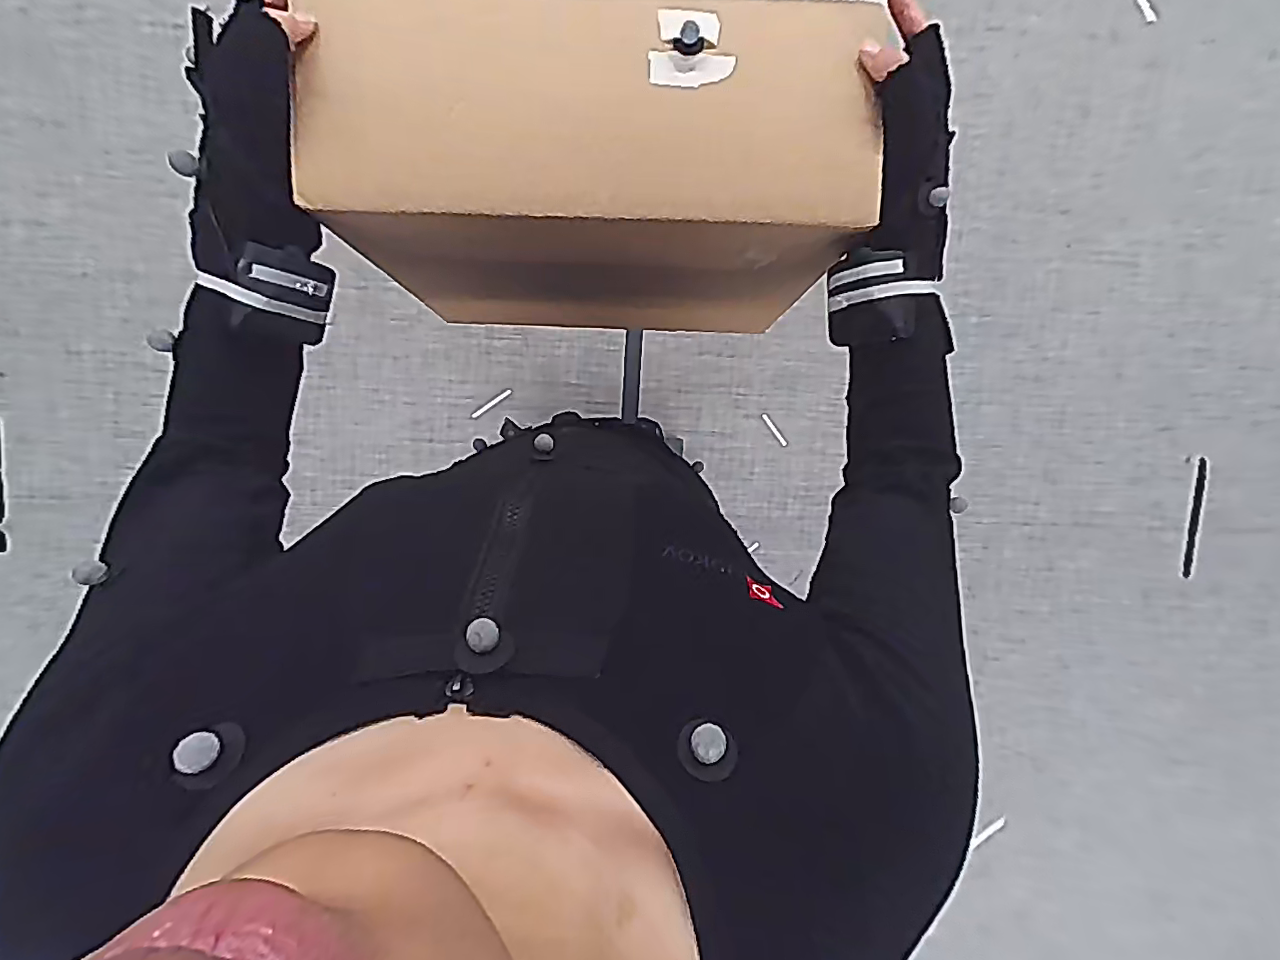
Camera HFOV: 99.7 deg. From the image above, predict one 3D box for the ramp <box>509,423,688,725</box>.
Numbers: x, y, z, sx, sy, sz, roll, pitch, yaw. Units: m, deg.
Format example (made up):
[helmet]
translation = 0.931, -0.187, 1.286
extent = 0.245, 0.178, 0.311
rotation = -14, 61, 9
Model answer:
[ramp]
translation = -0.128, 0.326, 1.618
extent = 0.509, 0.206, 0.991
rotation = 0, 98, -3

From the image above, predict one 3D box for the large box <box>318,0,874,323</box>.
[large box]
translation = -0.033, -0.349, 0.535
extent = 0.408, 0.320, 0.320
rotation = 1, 92, -2
